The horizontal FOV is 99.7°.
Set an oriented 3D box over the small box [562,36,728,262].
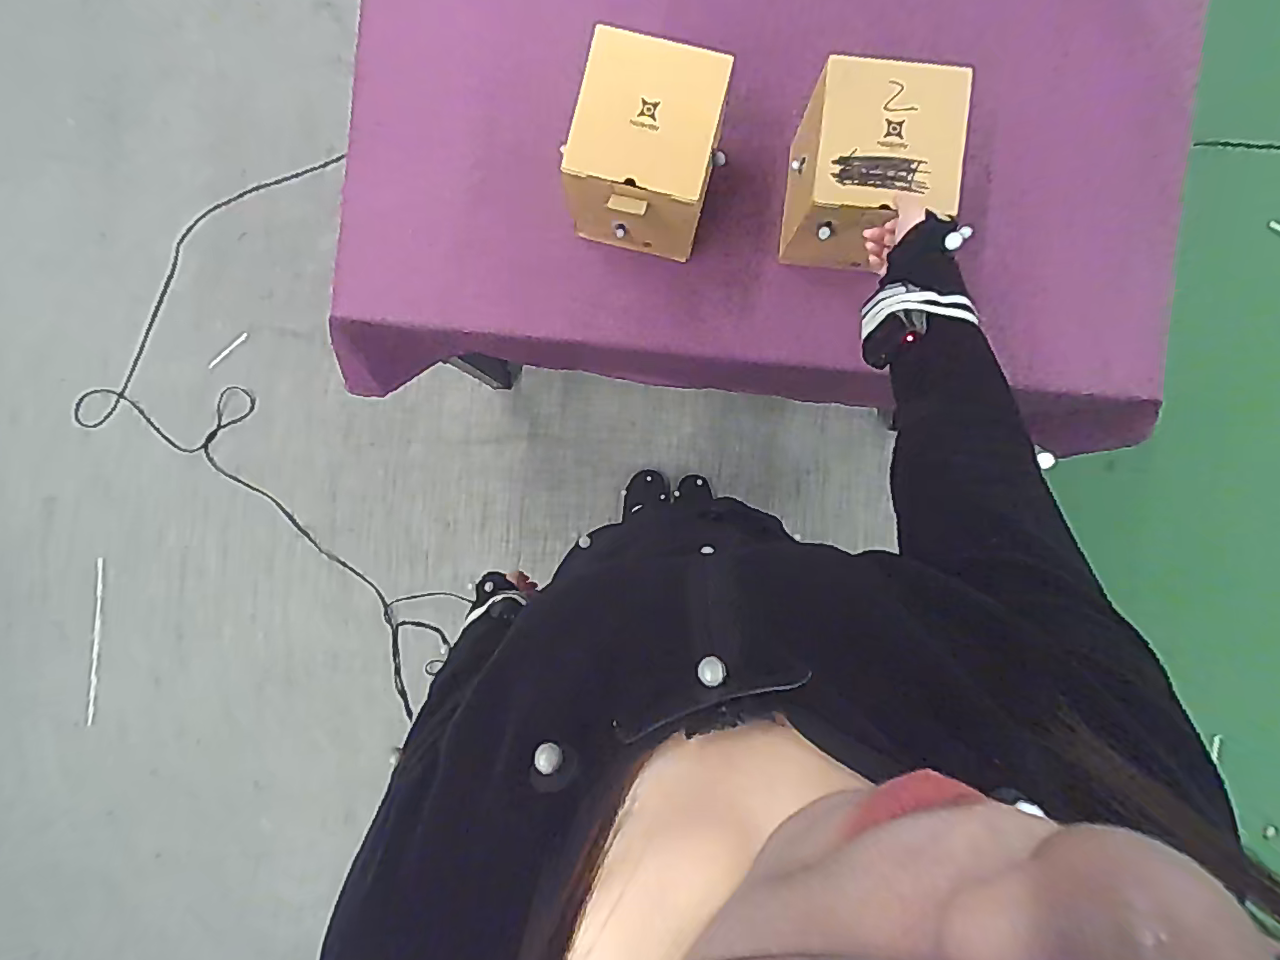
[{"bbox_3d":[0.006,-0.423,0.719,0.168,0.176,0.179,14,91,1],"label":"small box"}]
